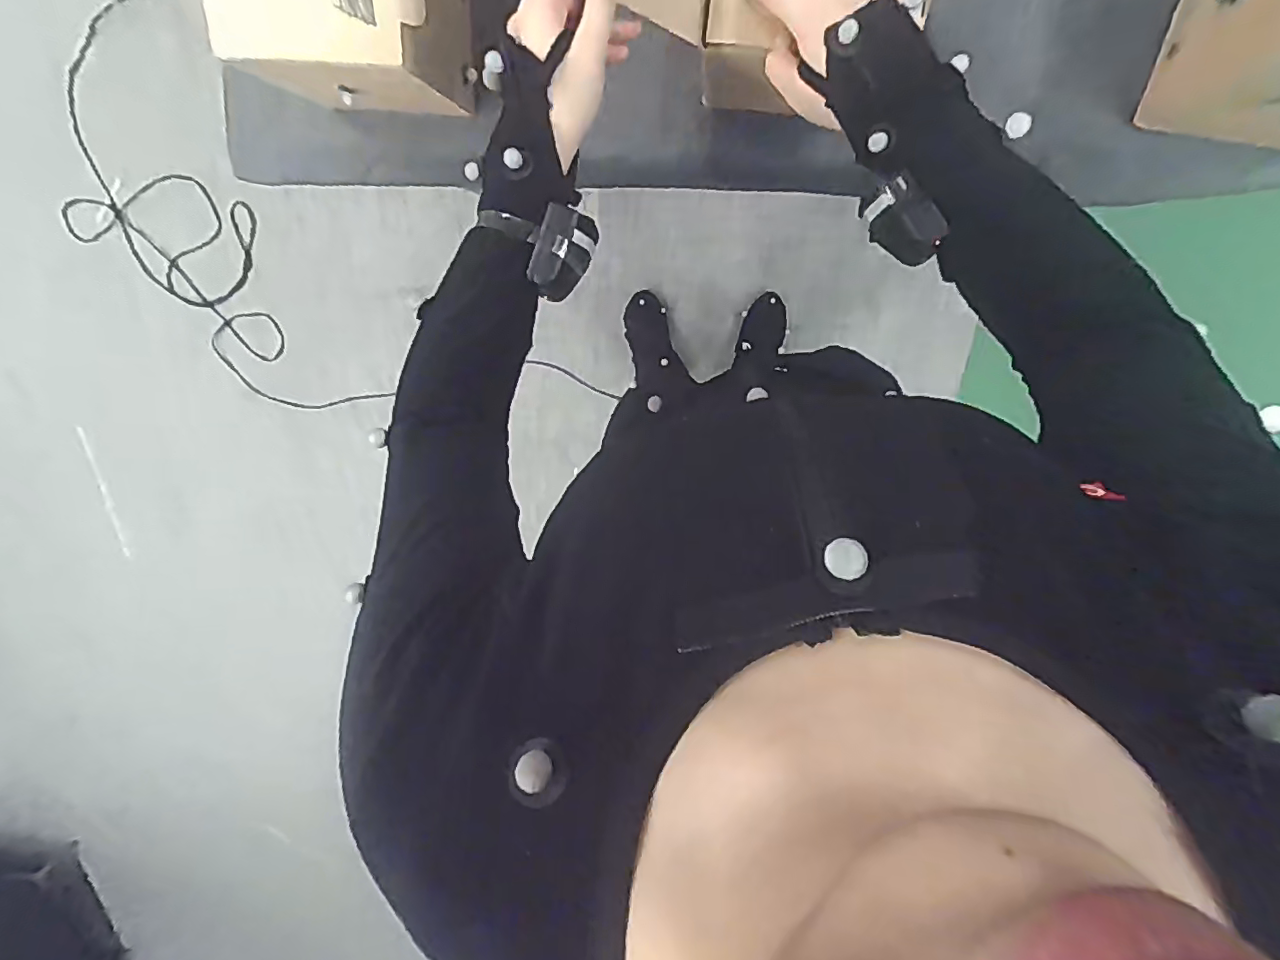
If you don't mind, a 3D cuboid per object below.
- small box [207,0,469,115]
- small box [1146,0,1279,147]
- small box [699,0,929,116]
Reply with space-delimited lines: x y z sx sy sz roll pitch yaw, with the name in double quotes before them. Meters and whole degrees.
"small box" -0.273 -0.465 0.513 0.179 0.176 0.168 5 112 3
"small box" 0.599 -0.401 0.452 0.179 0.176 0.168 10 108 2
"small box" 0.151 -0.445 0.482 0.179 0.176 0.168 7 112 4
